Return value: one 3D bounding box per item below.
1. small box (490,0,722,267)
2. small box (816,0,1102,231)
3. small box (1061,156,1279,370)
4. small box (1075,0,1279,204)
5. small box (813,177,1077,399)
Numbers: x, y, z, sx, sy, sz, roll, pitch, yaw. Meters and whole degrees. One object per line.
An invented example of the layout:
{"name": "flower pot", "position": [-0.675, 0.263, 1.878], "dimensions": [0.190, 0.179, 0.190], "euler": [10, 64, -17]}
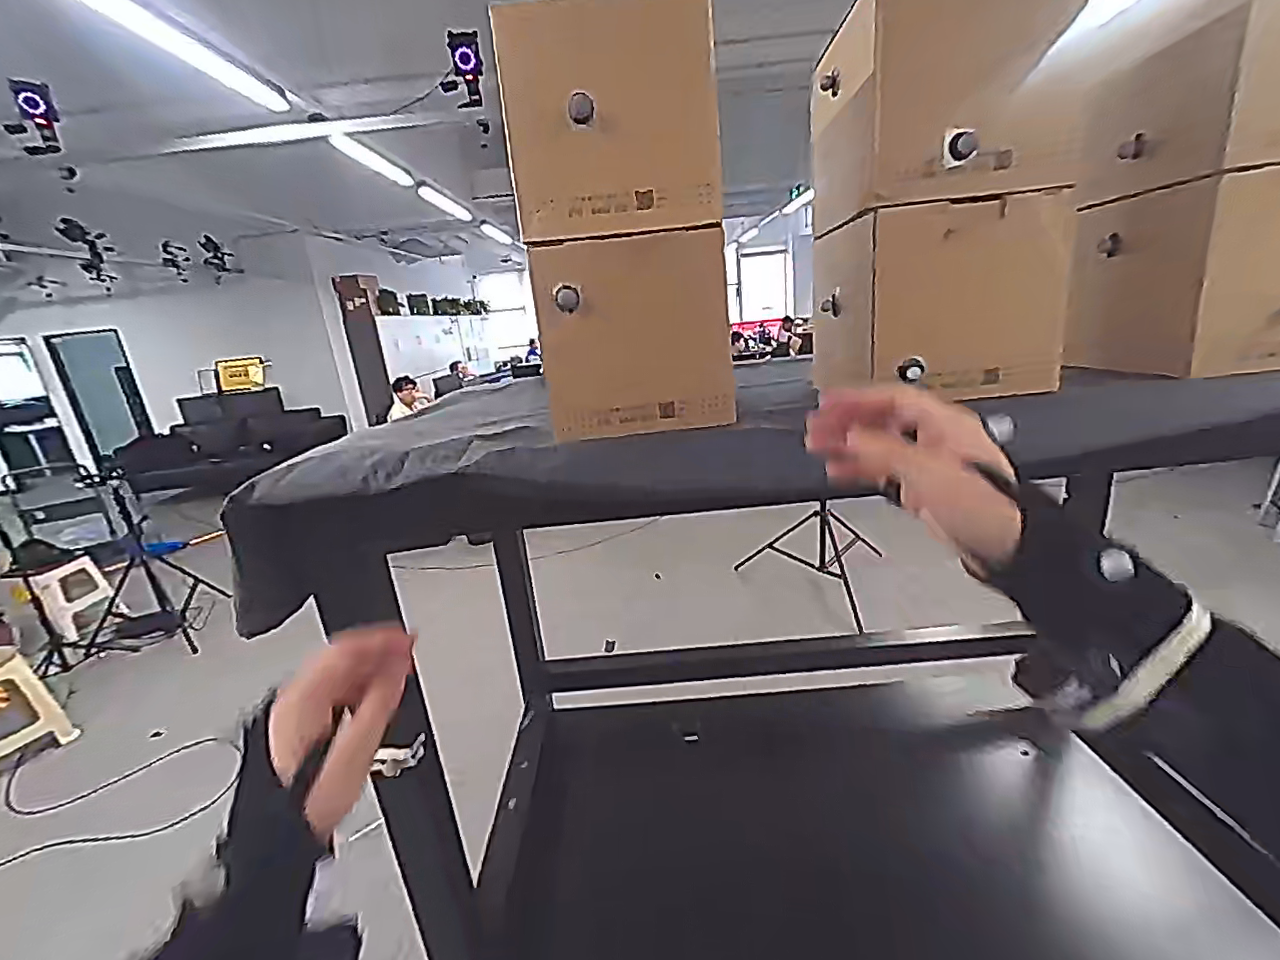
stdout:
{"name": "small box", "position": [-0.021, -0.300, 0.494], "dimensions": [0.168, 0.176, 0.179], "euler": [-6, 15, 1]}
{"name": "small box", "position": [0.265, -0.331, 0.493], "dimensions": [0.168, 0.176, 0.179], "euler": [-6, 16, 3]}
{"name": "small box", "position": [0.554, -0.202, 0.526], "dimensions": [0.168, 0.176, 0.179], "euler": [-6, 16, 3]}
{"name": "small box", "position": [0.538, -0.359, 0.481], "dimensions": [0.168, 0.176, 0.179], "euler": [-5, 17, 4]}
{"name": "small box", "position": [0.280, -0.175, 0.535], "dimensions": [0.168, 0.176, 0.179], "euler": [-5, 15, 2]}
